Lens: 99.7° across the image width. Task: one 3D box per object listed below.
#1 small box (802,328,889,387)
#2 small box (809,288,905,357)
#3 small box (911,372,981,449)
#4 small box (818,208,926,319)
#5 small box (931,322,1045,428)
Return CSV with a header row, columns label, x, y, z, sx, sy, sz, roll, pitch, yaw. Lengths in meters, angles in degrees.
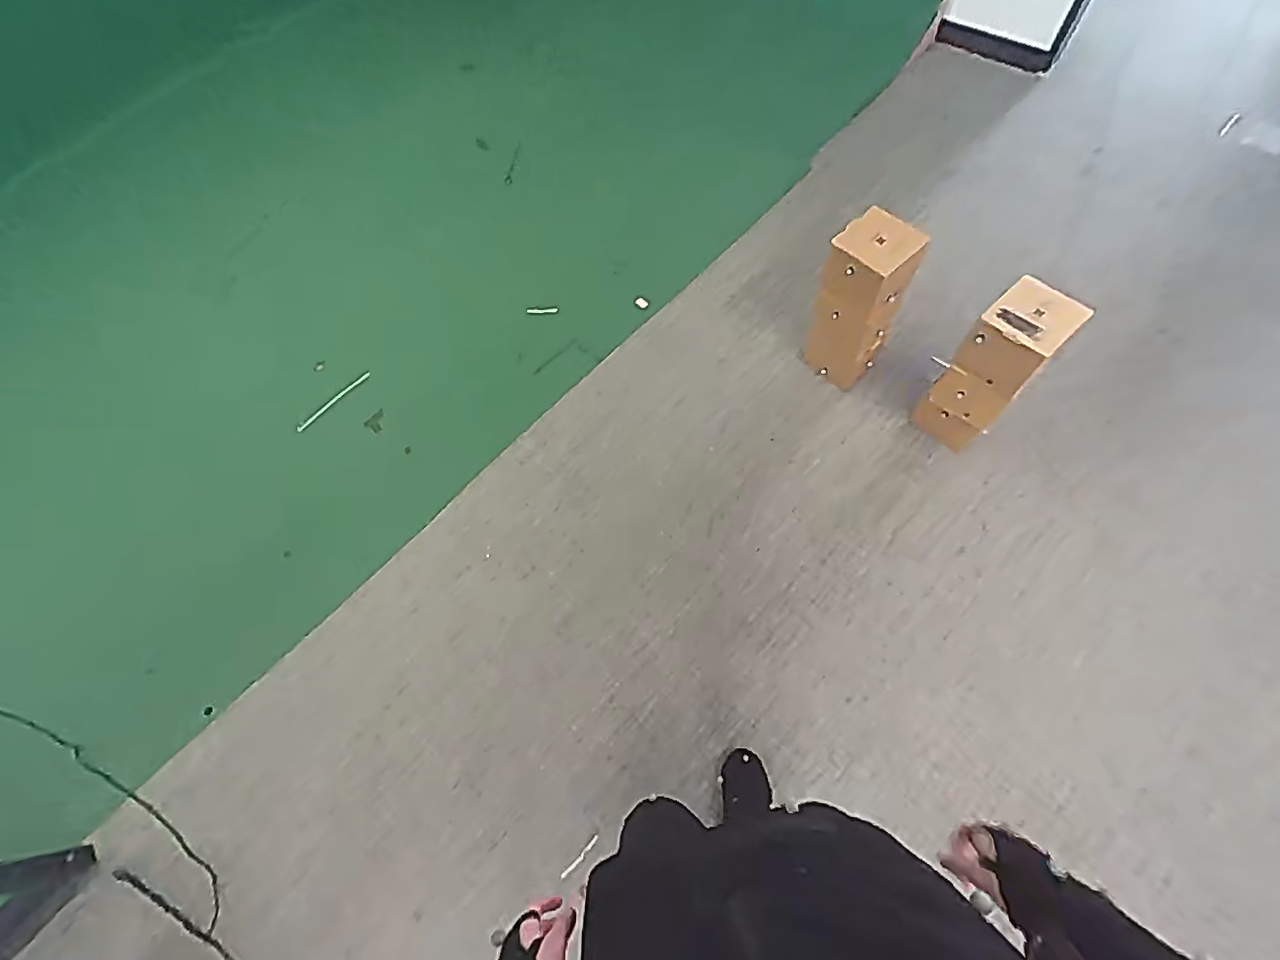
label,x,y,z,sx,sy,sz,roll,pitch,yaw
small box,0.639,-0.419,1.700,0.168,0.176,0.179,-43,69,-11
small box,0.612,-0.490,1.553,0.168,0.176,0.179,-42,68,-10
small box,0.926,-0.219,1.570,0.168,0.176,0.179,-44,69,-11
small box,0.591,-0.557,1.407,0.168,0.176,0.179,-40,68,-9
small box,0.899,-0.269,1.418,0.168,0.176,0.179,37,76,21
